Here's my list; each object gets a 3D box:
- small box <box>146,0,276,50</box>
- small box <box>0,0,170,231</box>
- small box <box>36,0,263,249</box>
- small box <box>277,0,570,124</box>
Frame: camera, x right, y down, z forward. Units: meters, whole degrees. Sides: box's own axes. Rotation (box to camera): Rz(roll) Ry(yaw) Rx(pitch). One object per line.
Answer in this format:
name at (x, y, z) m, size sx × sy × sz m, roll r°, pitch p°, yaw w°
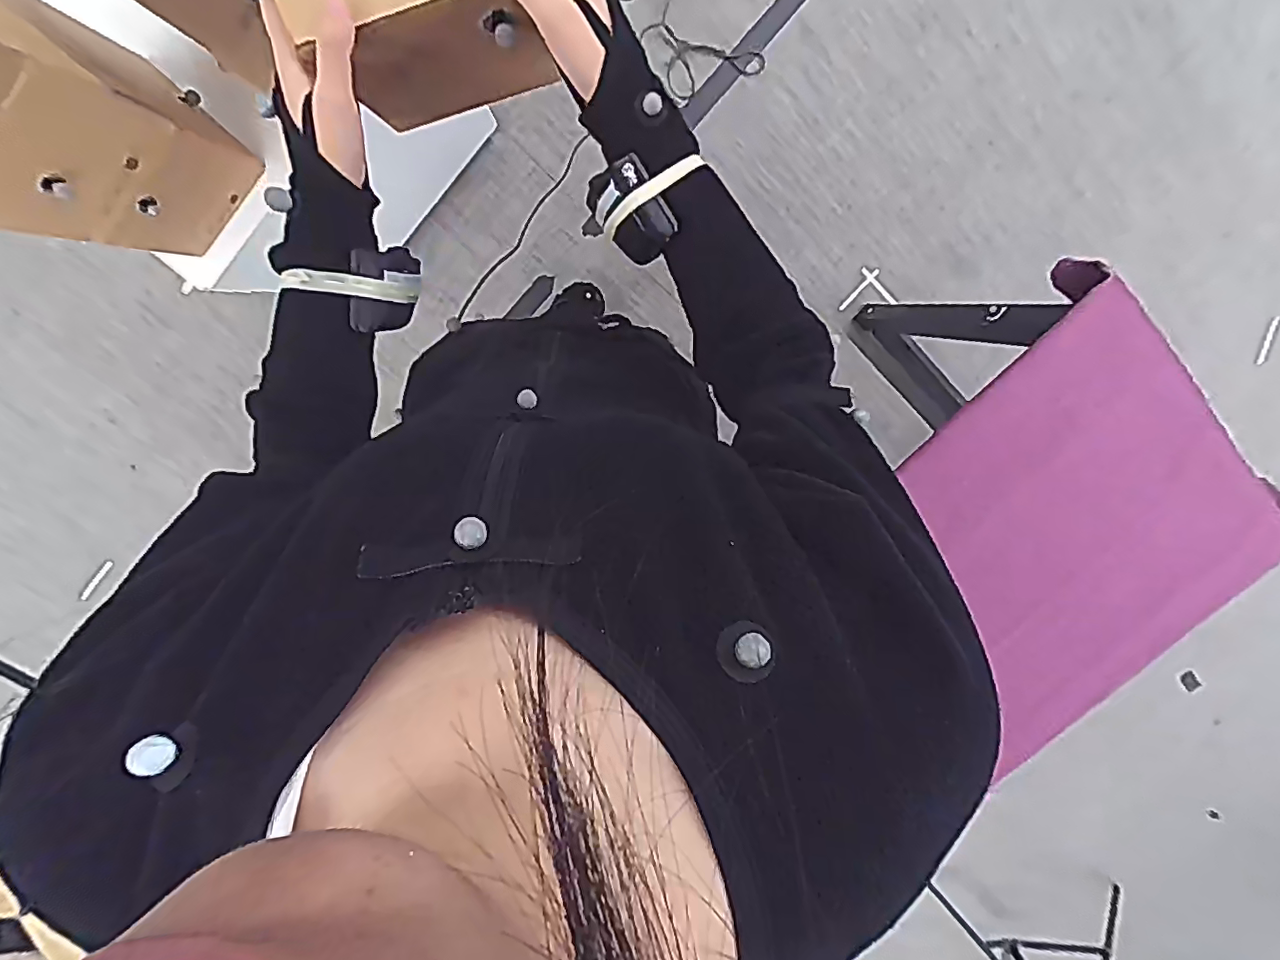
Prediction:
small box at (-0.420, -0.521, 0.448) m, size 0.168 × 0.176 × 0.179 m, roll -44°, pitch 107°, yaw 10°
small box at (-0.597, -0.351, 0.489) m, size 0.179 × 0.176 × 0.168 m, roll 41°, pitch 100°, yaw -15°
small box at (-0.612, -0.401, 0.642) m, size 0.179 × 0.176 × 0.168 m, roll 42°, pitch 101°, yaw -14°
small box at (-0.155, -0.389, 0.383) m, size 0.179 × 0.176 × 0.168 m, roll -15°, pitch 107°, yaw 3°
